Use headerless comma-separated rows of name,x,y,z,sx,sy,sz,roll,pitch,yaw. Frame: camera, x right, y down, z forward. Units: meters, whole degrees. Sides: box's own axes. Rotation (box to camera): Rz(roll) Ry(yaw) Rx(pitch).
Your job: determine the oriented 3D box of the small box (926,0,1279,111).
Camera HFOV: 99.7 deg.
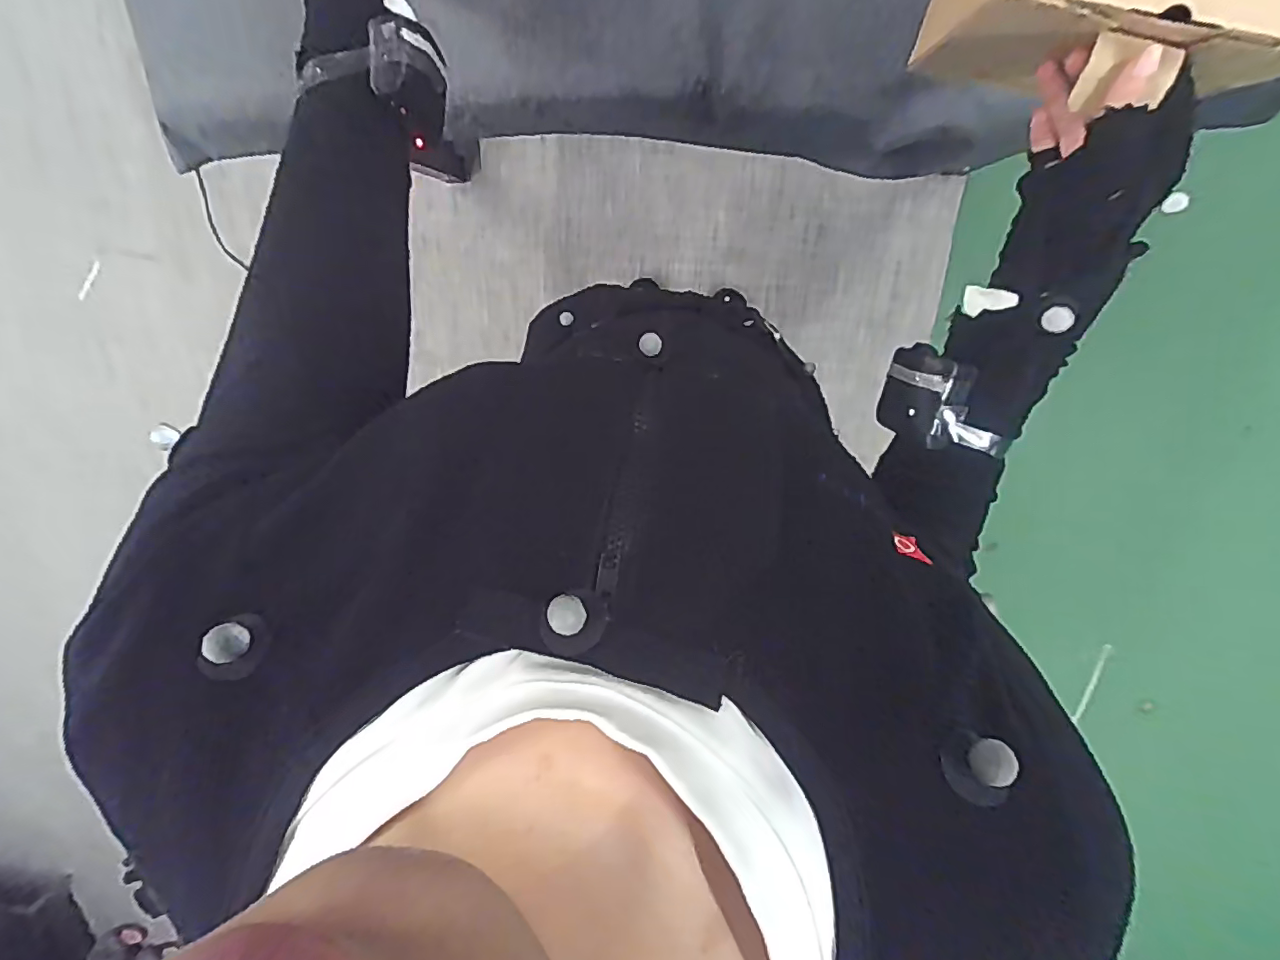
small box,0.286,-0.328,0.296,0.168,0.176,0.179,14,118,2
